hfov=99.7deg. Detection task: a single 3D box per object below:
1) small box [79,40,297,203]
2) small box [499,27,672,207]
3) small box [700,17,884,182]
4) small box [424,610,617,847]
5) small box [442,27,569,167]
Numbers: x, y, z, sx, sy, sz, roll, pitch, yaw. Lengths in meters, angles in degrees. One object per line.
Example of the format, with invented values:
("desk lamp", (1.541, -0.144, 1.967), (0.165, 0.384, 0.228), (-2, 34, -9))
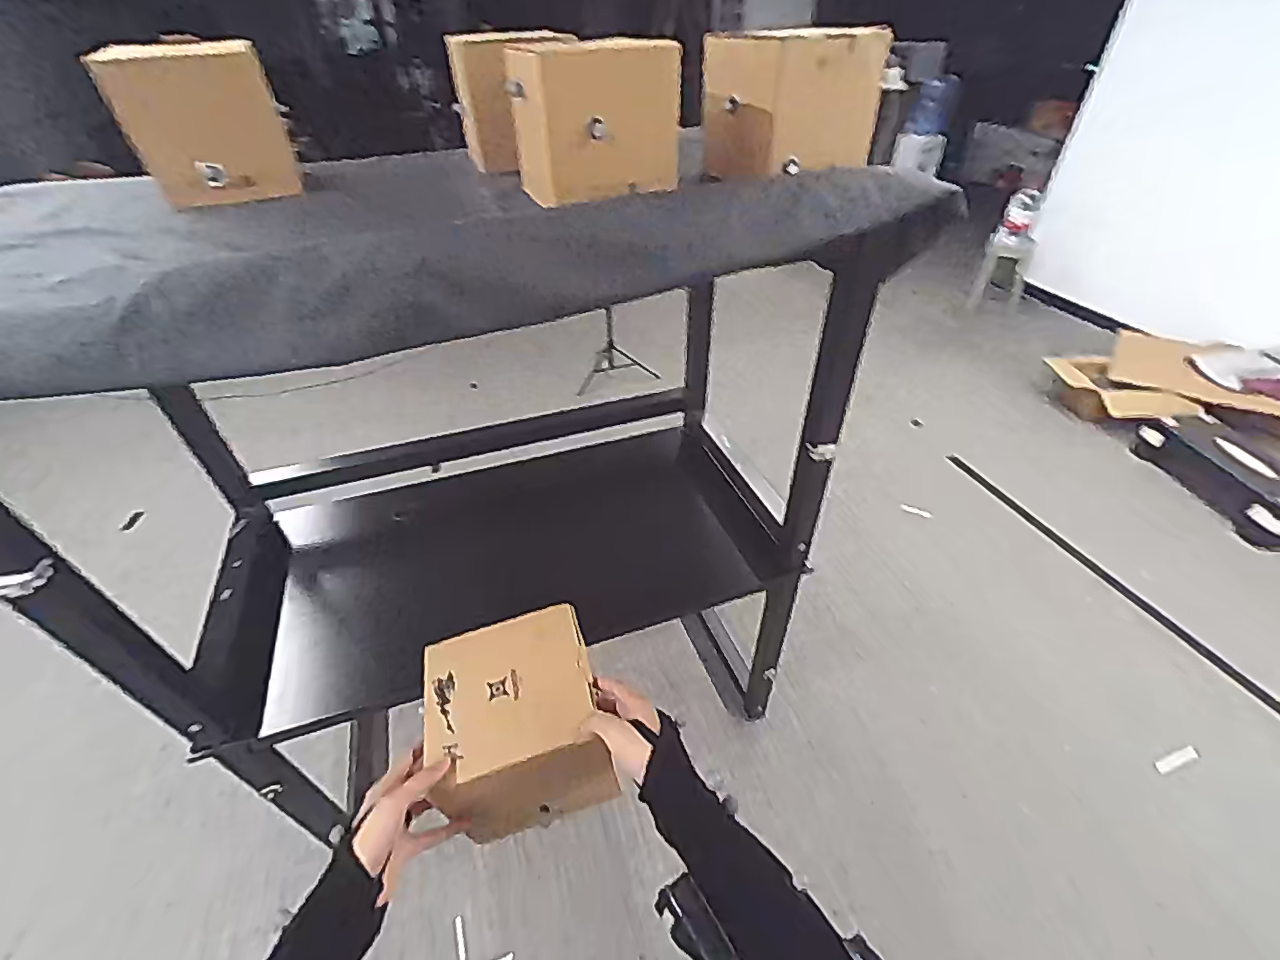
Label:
("small box", (-0.604, -0.501, 0.753), (0.168, 0.176, 0.179), (-20, 44, -18))
("small box", (-0.066, -0.456, 0.683), (0.168, 0.176, 0.179), (-16, 42, -16))
("small box", (0.194, -0.521, 0.744), (0.168, 0.176, 0.179), (-19, 42, -18))
("small box", (-0.128, 0.282, 0.618), (0.179, 0.176, 0.168), (-14, 41, -8))
("small box", (-0.206, -0.620, 0.876), (0.179, 0.176, 0.168), (-14, 43, -14))
